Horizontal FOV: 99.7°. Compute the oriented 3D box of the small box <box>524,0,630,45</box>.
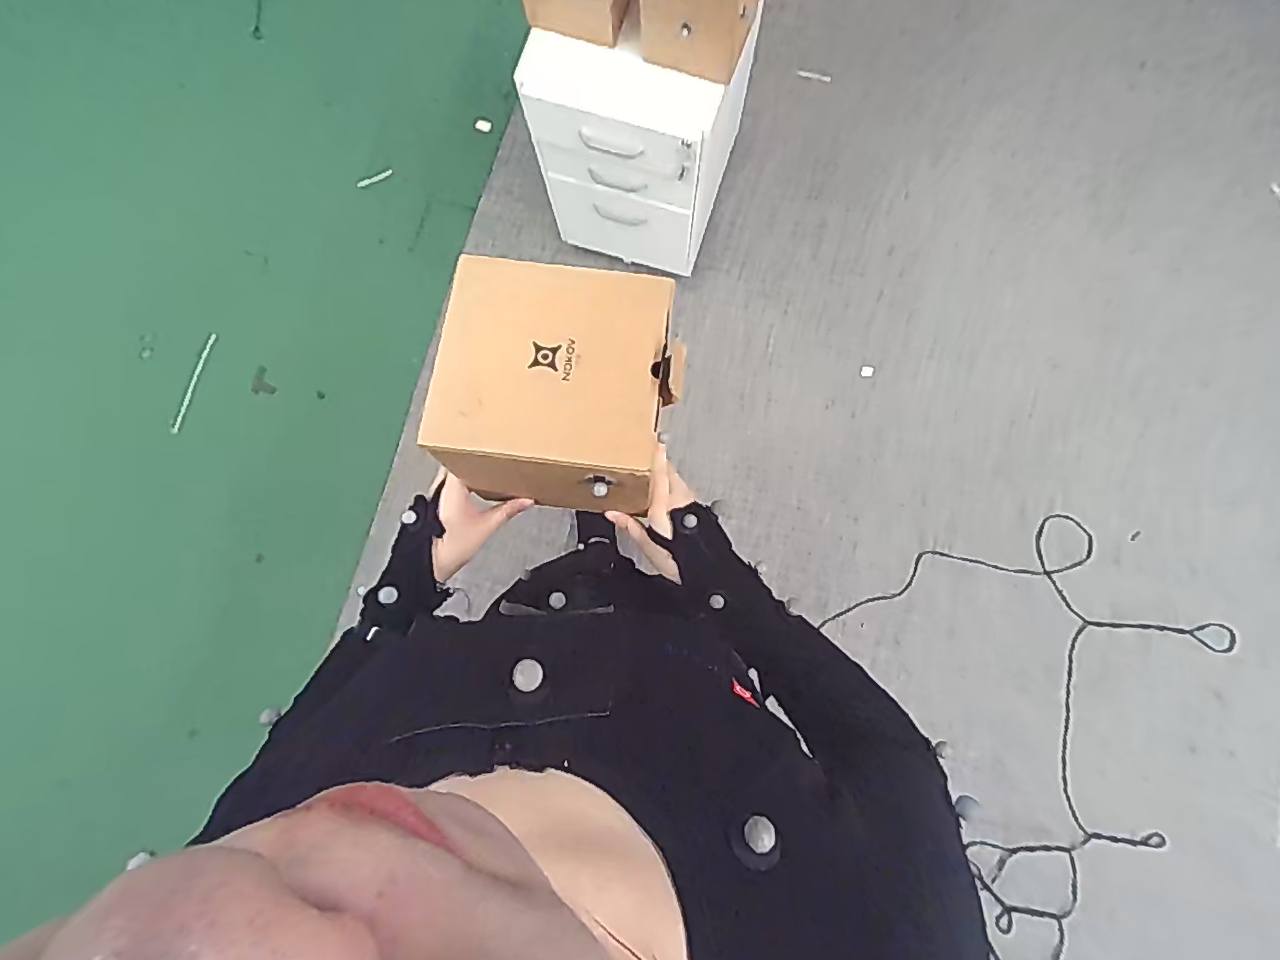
[{"bbox_3d":[-0.114,-0.936,0.969,0.179,0.176,0.168,17,84,3],"label":"small box"}]

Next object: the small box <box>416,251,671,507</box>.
[{"bbox_3d":[-0.072,-0.077,0.493,0.179,0.176,0.168,7,74,0],"label":"small box"}]
